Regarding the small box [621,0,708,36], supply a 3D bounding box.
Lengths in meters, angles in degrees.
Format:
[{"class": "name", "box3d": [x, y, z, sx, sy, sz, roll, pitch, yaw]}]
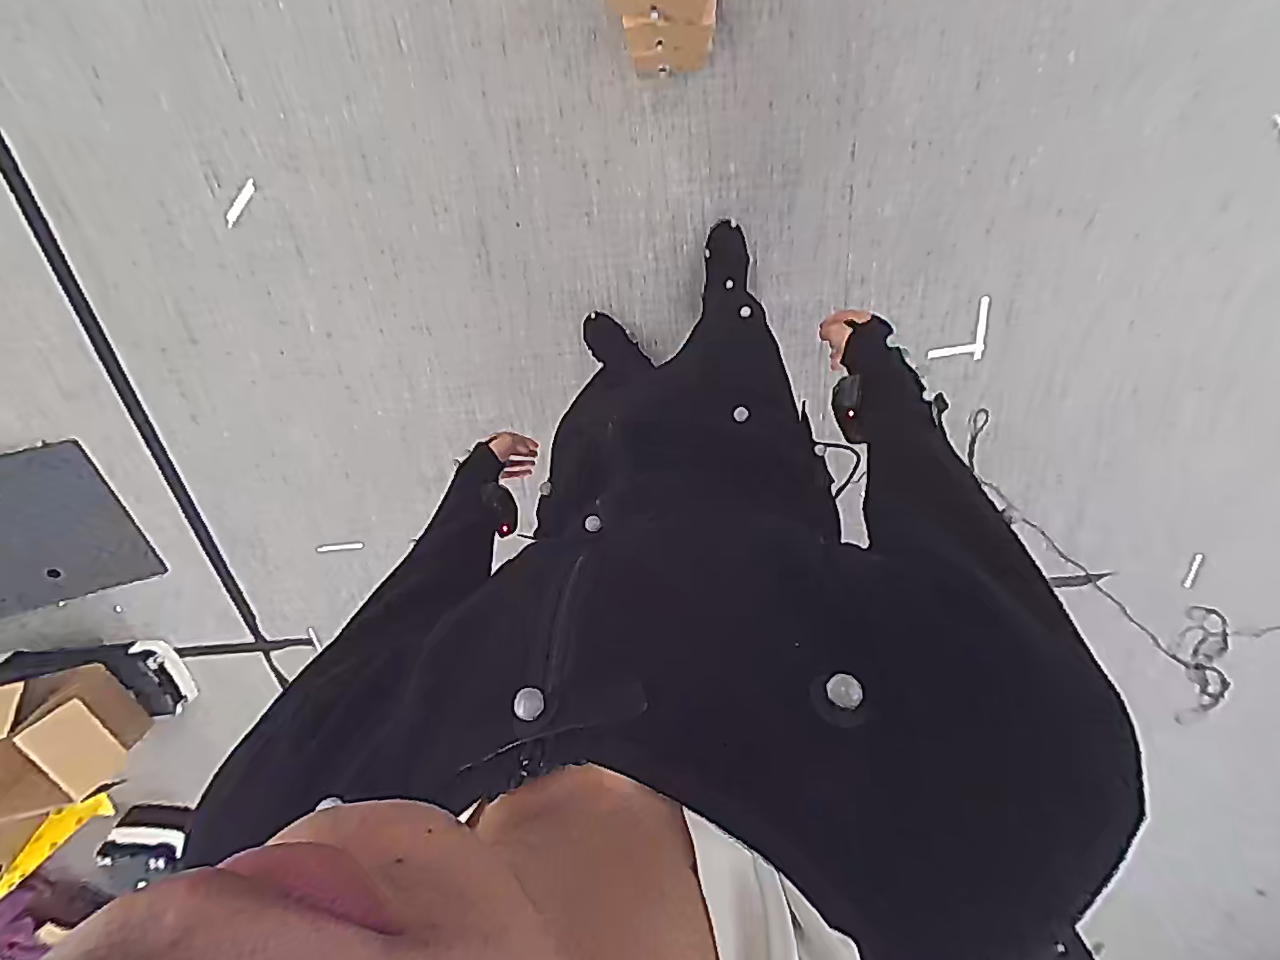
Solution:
[{"class": "small box", "box3d": [0.043, -1.009, 1.060, 0.168, 0.176, 0.179, -3, 116, 1]}]

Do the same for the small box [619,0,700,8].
[{"class": "small box", "box3d": [0.035, -0.940, 0.914, 0.168, 0.176, 0.179, 0, 117, 0]}]
